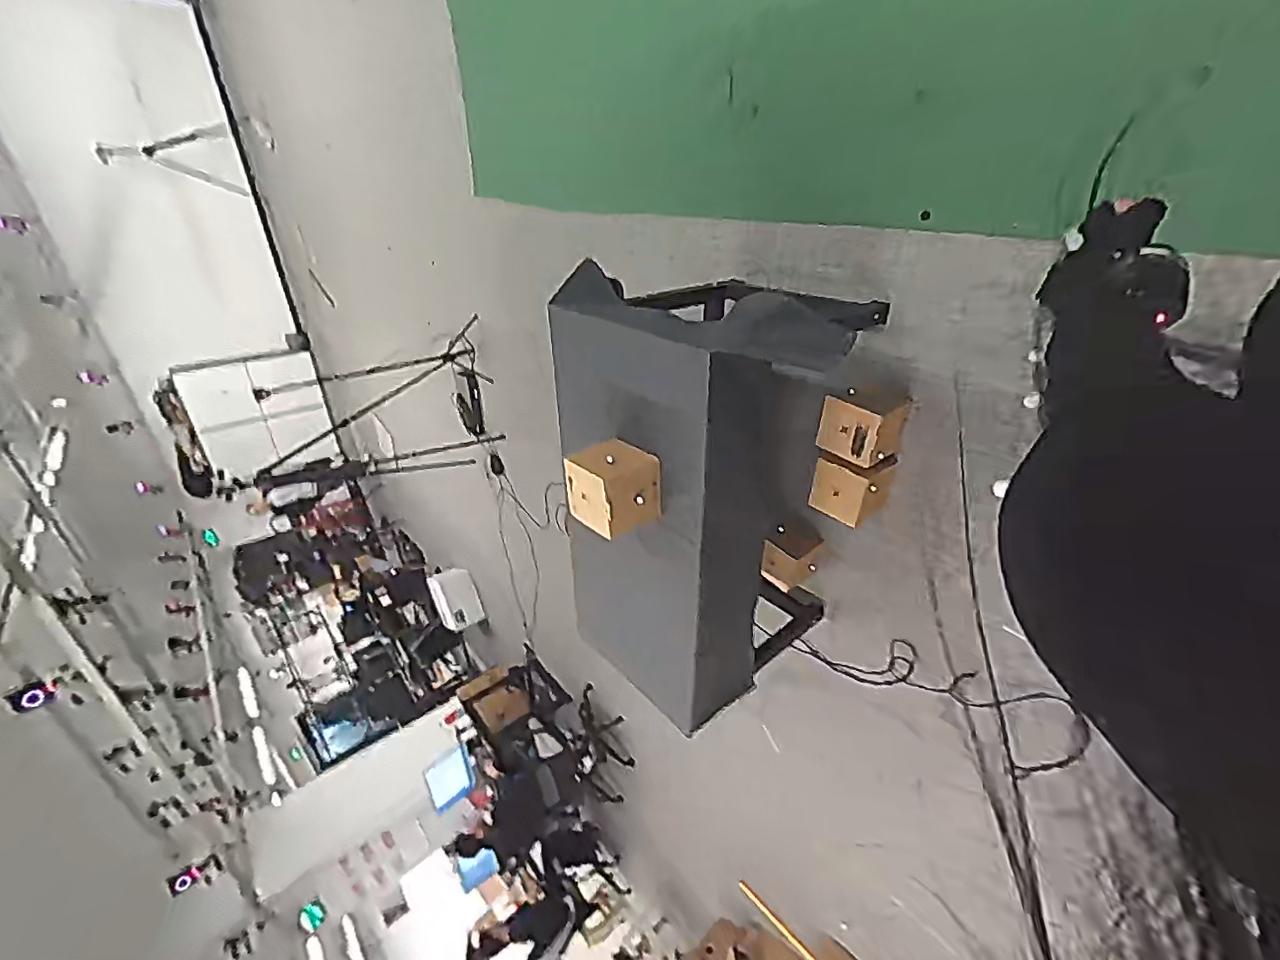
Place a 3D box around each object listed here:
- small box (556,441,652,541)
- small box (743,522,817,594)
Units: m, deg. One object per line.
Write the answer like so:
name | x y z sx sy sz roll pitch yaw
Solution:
small box | -0.083 0.018 1.334 0.179 0.176 0.168 26 129 42
small box | 0.509 0.275 1.970 0.179 0.176 0.168 37 137 36
